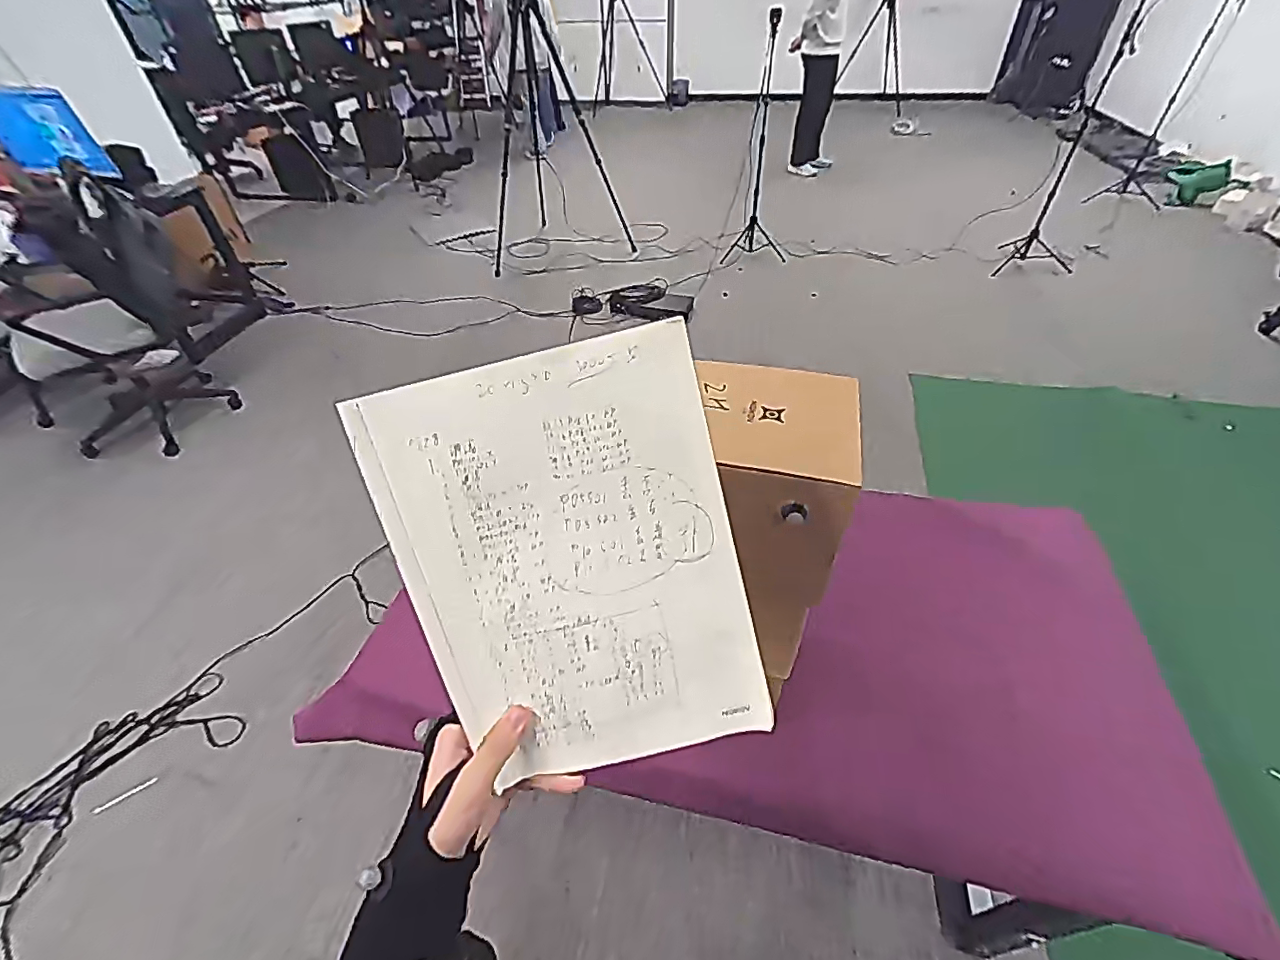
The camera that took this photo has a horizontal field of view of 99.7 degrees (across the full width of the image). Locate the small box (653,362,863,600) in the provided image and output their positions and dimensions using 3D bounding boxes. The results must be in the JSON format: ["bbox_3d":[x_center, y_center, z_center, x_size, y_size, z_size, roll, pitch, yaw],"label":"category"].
[{"bbox_3d":[0.118,0.001,0.559,0.179,0.176,0.168,10,43,13],"label":"small box"}]

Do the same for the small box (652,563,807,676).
[{"bbox_3d":[0.115,0.118,0.676,0.168,0.176,0.179,8,43,11],"label":"small box"}]
